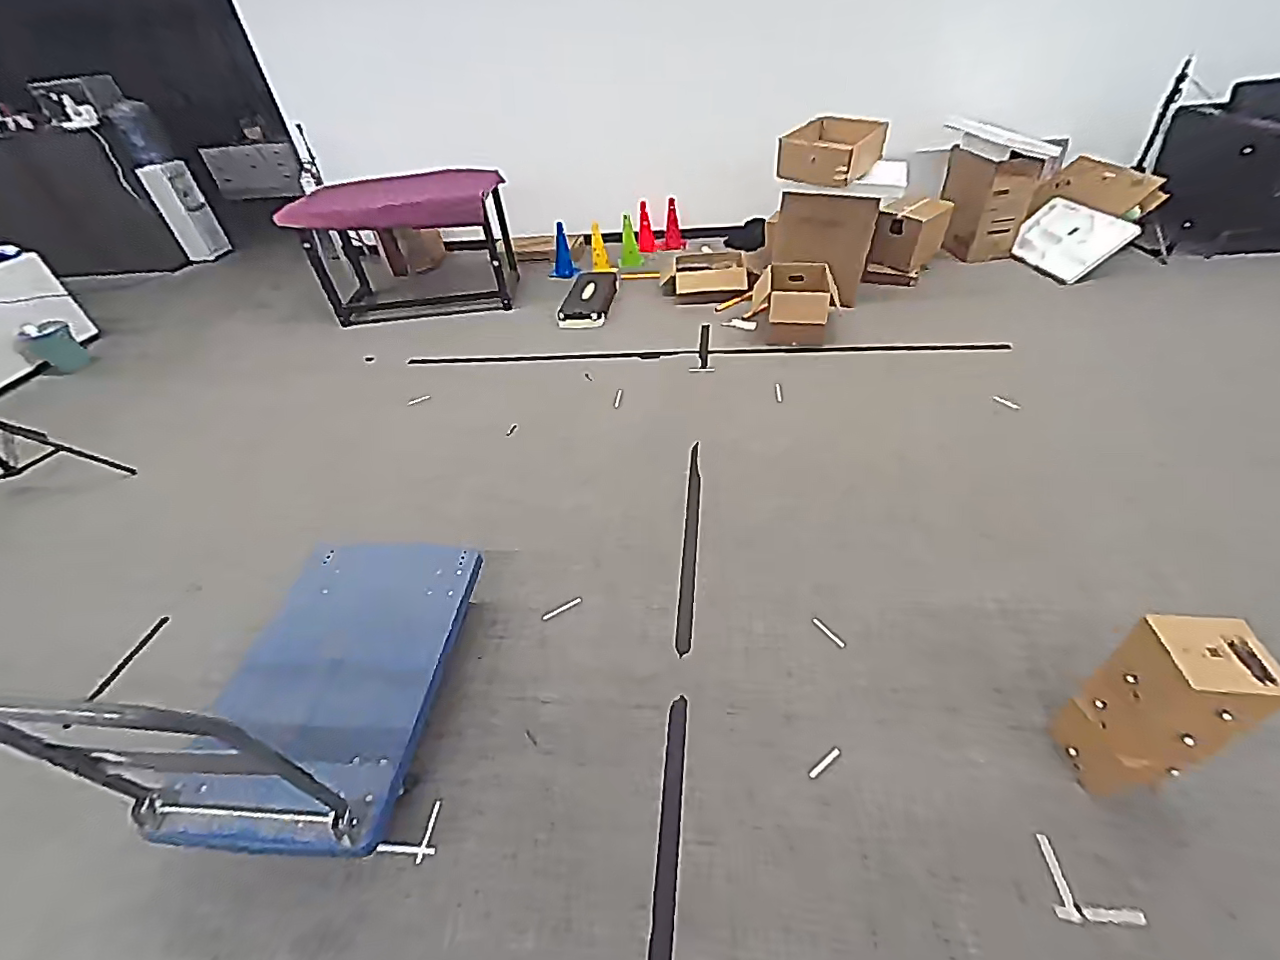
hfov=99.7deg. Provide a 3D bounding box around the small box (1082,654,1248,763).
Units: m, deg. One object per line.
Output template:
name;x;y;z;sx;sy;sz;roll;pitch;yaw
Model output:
small box;1.149;0.511;1.204;0.179;0.176;0.168;1;42;8

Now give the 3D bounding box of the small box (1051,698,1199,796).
small box;1.154;0.637;1.306;0.179;0.176;0.168;-7;40;-1
